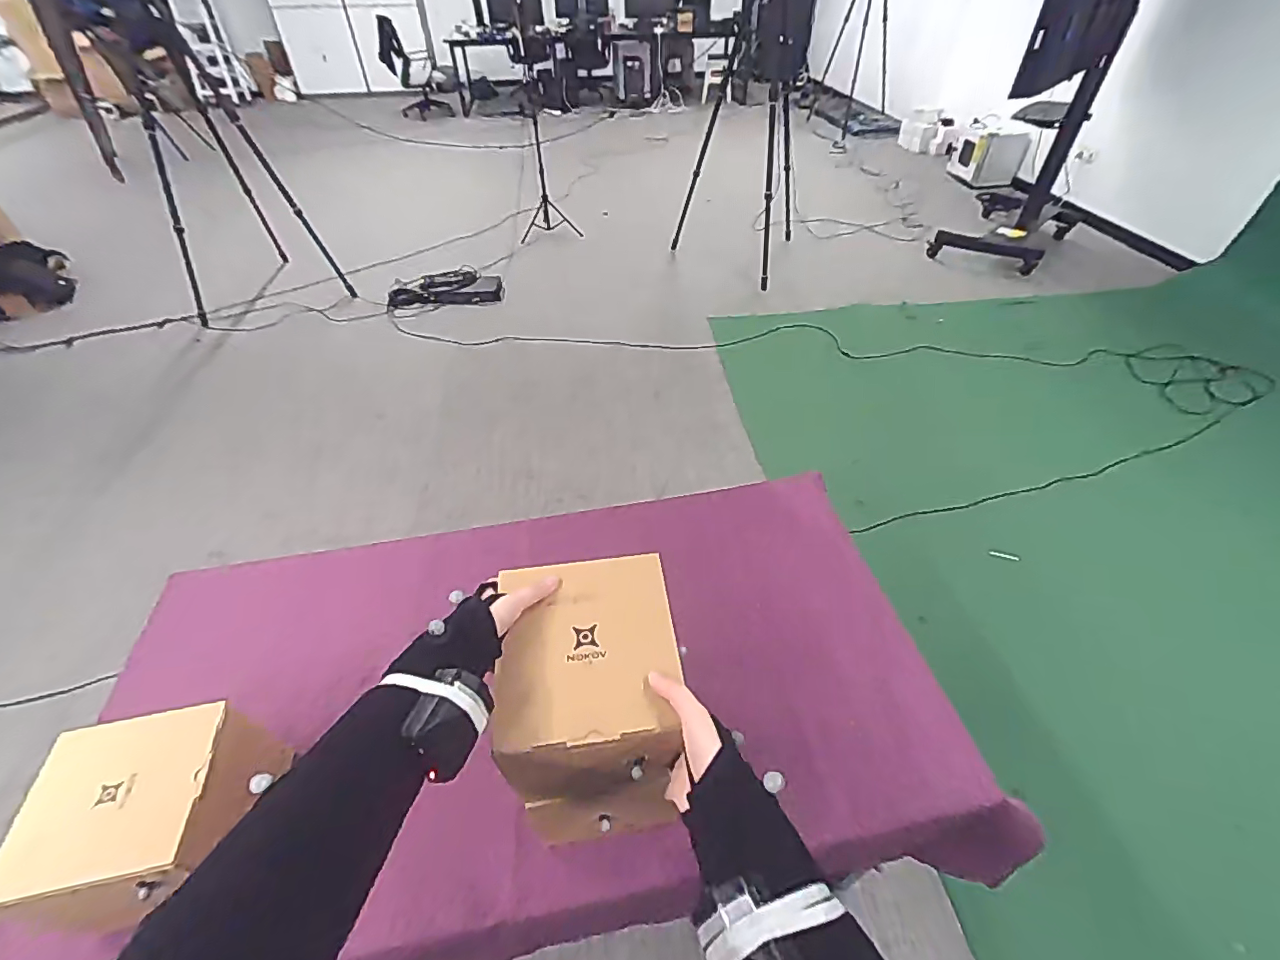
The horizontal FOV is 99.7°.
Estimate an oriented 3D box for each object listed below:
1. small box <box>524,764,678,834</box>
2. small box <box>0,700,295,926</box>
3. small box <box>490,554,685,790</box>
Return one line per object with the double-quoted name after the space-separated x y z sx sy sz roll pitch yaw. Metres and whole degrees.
-0.048 0.319 0.674 0.168 0.176 0.179 -7 45 -6 "small box"
-0.545 0.386 0.626 0.179 0.176 0.168 -9 44 -8 "small box"
-0.050 0.201 0.556 0.168 0.176 0.179 -6 48 -5 "small box"
